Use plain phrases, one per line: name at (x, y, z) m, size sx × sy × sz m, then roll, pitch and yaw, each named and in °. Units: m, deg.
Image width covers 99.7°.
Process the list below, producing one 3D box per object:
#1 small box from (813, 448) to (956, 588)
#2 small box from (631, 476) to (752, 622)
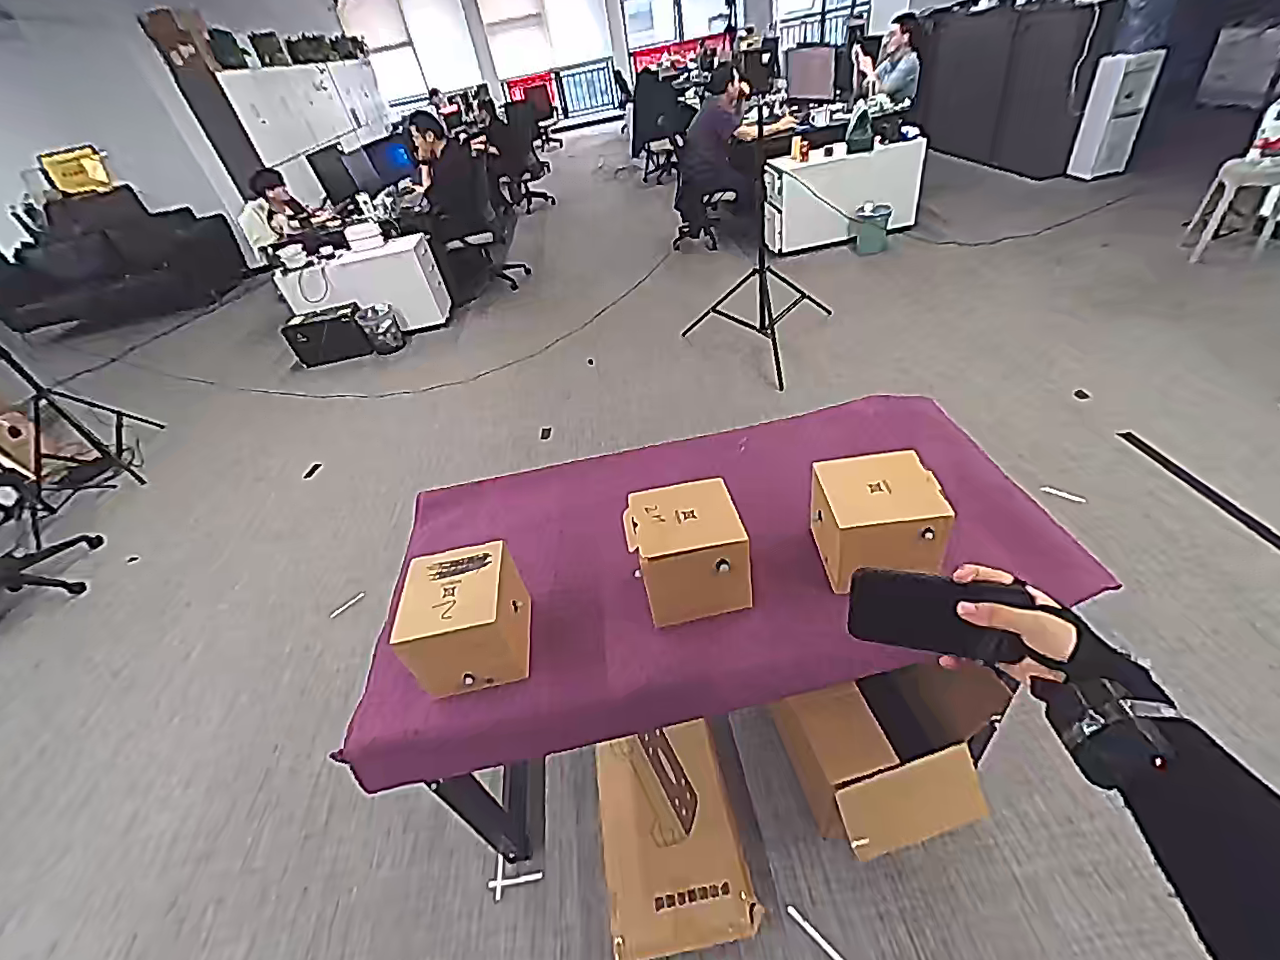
small box at (0.404, 0.069, 0.930) m, size 0.179 × 0.176 × 0.168 m, roll -8°, pitch 40°, yaw 5°
small box at (0.090, 0.122, 0.946) m, size 0.179 × 0.176 × 0.168 m, roll -13°, pitch 37°, yaw 0°
